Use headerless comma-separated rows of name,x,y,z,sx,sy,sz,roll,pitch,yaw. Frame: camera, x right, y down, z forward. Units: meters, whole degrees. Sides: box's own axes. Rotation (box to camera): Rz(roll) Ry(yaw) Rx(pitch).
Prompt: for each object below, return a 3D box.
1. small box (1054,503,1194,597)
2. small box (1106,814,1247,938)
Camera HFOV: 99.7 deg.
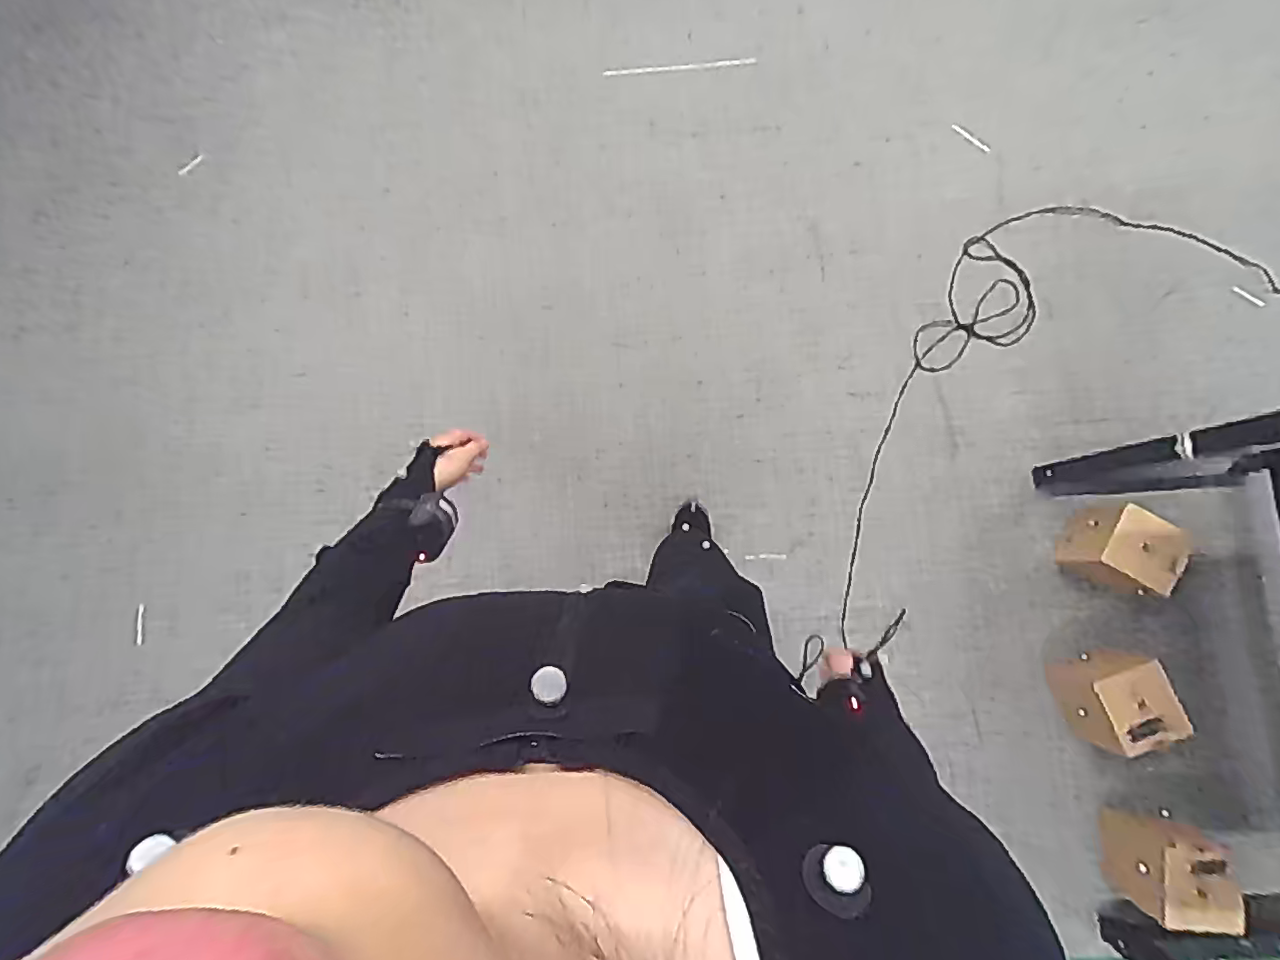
small box,1.208,0.179,1.365,0.179,0.176,0.168,30,84,5
small box,1.232,0.907,1.257,0.168,0.176,0.179,2,83,3
